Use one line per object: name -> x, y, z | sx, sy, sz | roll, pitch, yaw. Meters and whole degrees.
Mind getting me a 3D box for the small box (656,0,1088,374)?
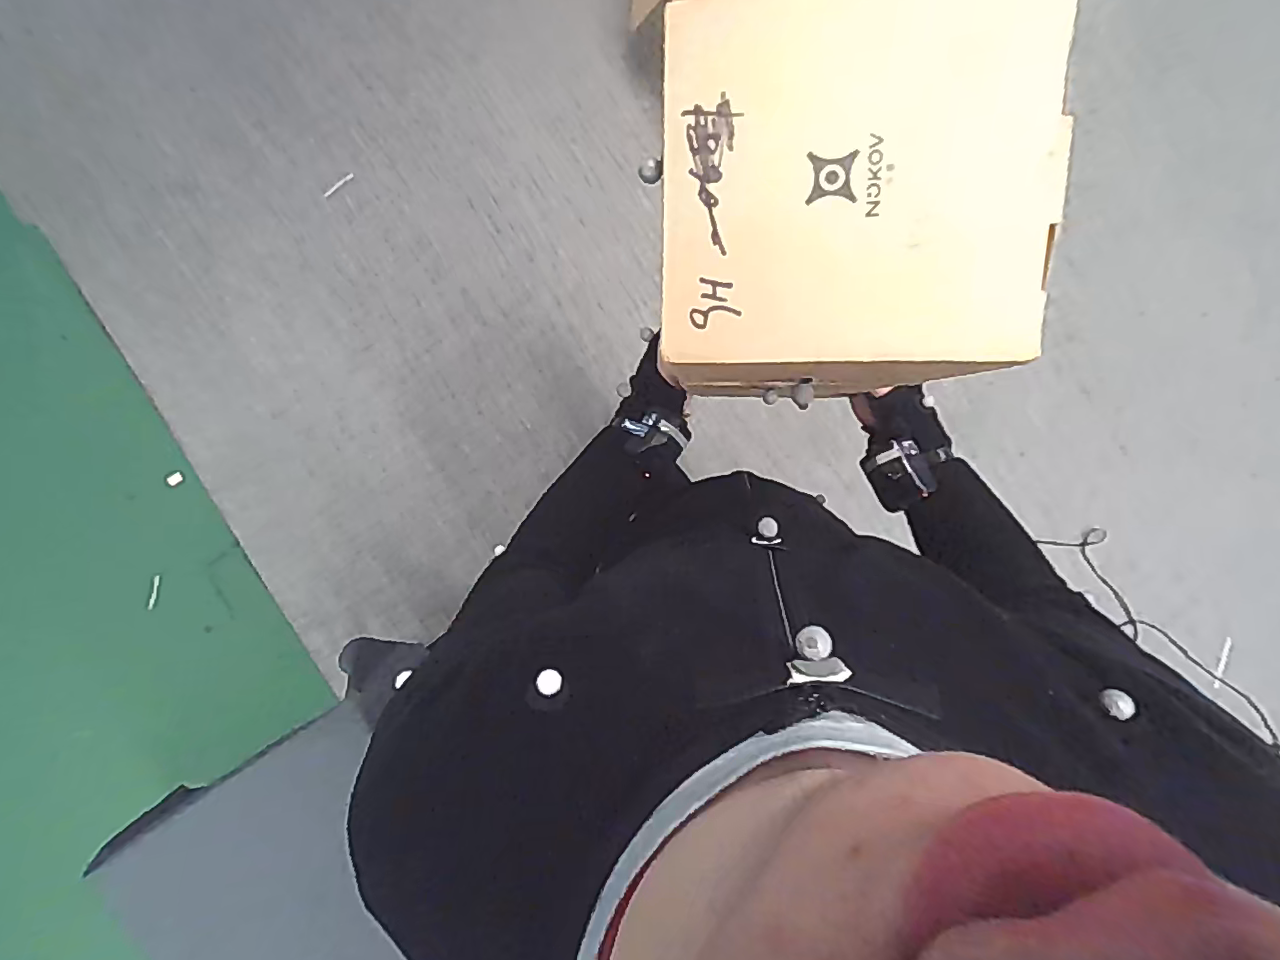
small box -> 0.105, -0.153, 0.317 | 0.179, 0.176, 0.168 | 2, 97, 7
